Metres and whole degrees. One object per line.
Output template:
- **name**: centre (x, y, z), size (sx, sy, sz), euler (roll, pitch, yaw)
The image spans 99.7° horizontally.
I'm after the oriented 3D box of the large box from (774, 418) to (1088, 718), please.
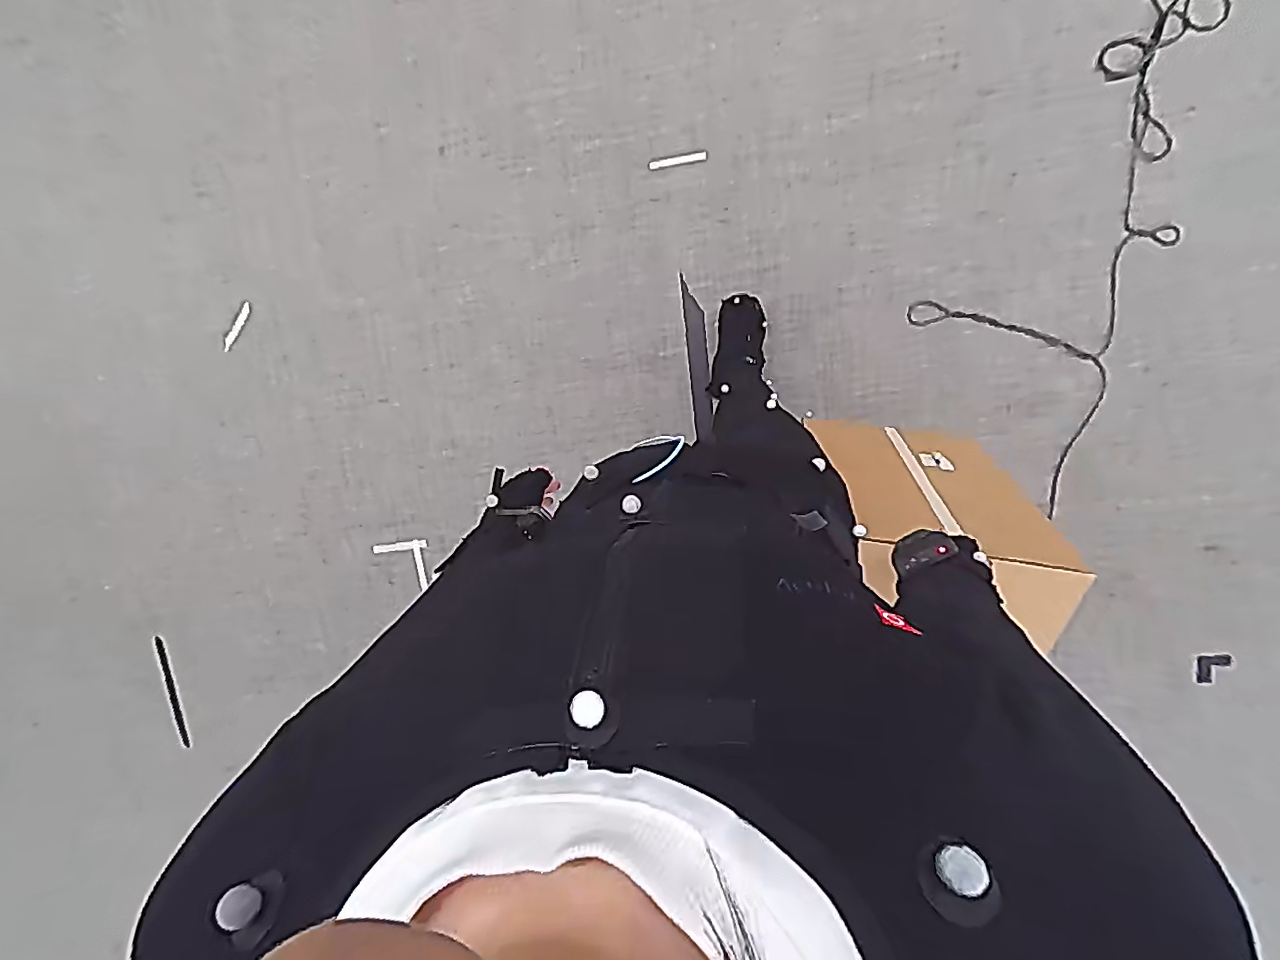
- **large box**: centre (0.422, 0.122, 0.921), size (0.320, 0.408, 0.320), euler (9, 118, 5)
